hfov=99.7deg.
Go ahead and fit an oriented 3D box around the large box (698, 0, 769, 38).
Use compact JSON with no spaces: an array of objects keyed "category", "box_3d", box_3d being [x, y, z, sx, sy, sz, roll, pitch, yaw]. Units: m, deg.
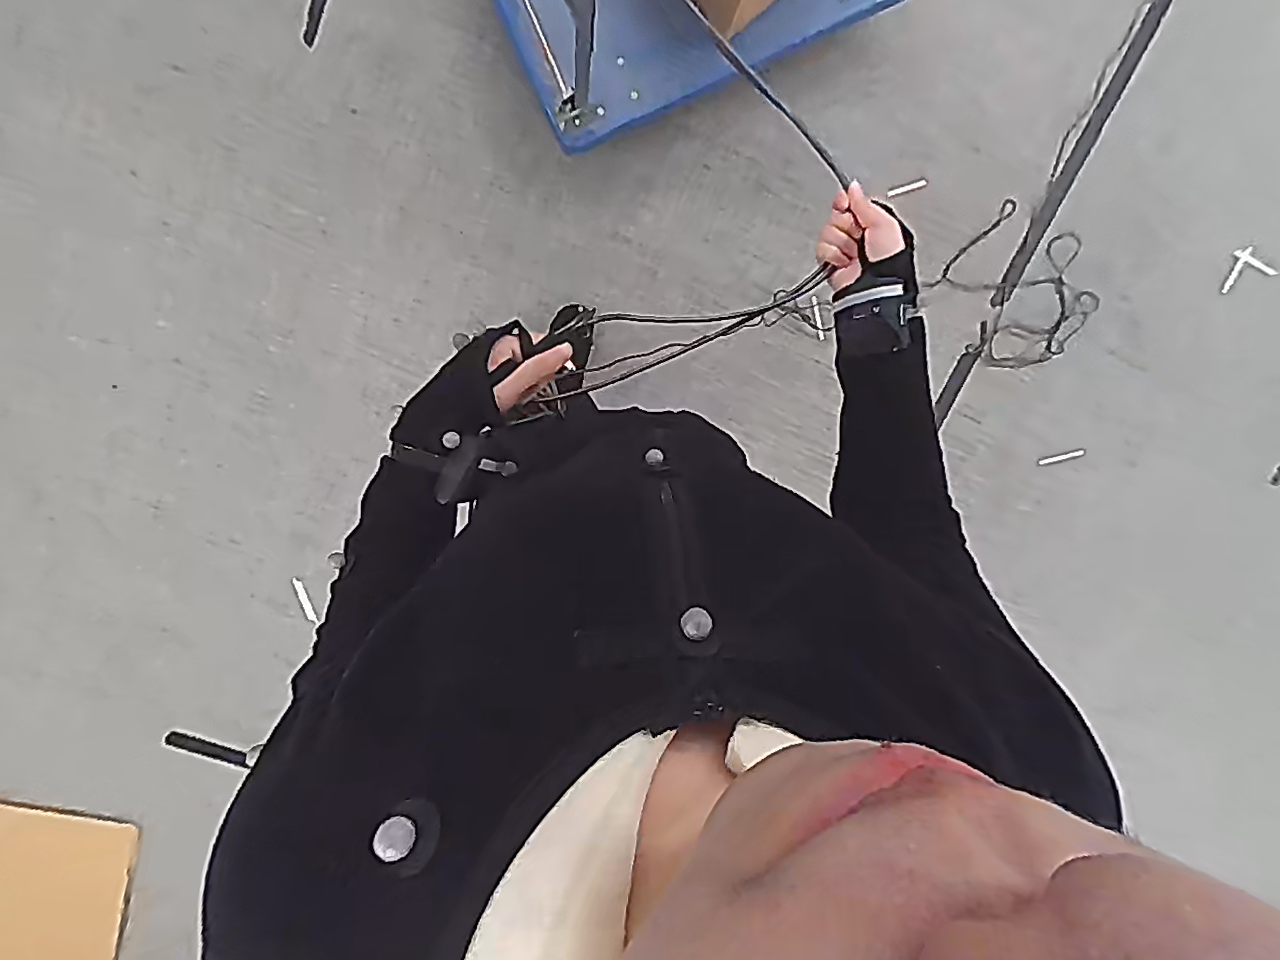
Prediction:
[{"category":"large box","box_3d":[0.182,-1.146,0.955,0.320,0.320,0.408,-39,103,4]}]
